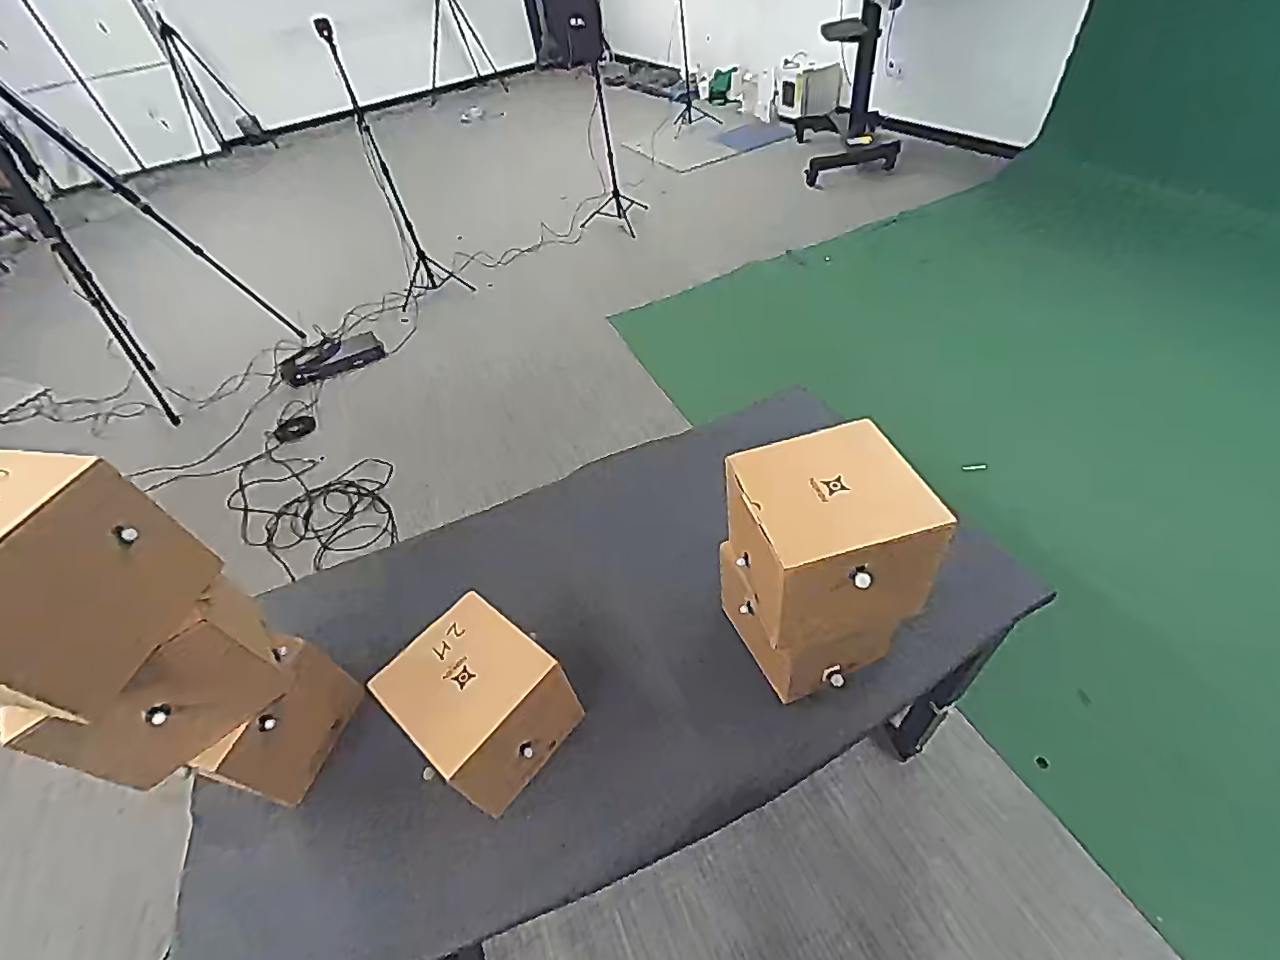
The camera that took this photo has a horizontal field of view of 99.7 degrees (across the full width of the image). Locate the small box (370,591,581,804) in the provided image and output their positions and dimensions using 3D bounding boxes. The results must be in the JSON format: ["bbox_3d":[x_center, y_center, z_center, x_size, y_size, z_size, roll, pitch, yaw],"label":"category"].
[{"bbox_3d":[-0.201,0.286,0.704,0.179,0.176,0.168,28,57,32],"label":"small box"}]

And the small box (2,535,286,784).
[{"bbox_3d":[-0.545,0.203,0.618,0.179,0.176,0.168,-38,53,-23],"label":"small box"}]

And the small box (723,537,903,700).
[{"bbox_3d":[0.227,0.164,0.740,0.168,0.176,0.179,-23,47,-10],"label":"small box"}]

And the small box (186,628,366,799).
[{"bbox_3d":[-0.526,0.312,0.741,0.179,0.176,0.168,7,49,16],"label":"small box"}]

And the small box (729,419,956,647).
[{"bbox_3d":[0.210,0.062,0.614,0.179,0.176,0.168,-16,45,-2],"label":"small box"}]
